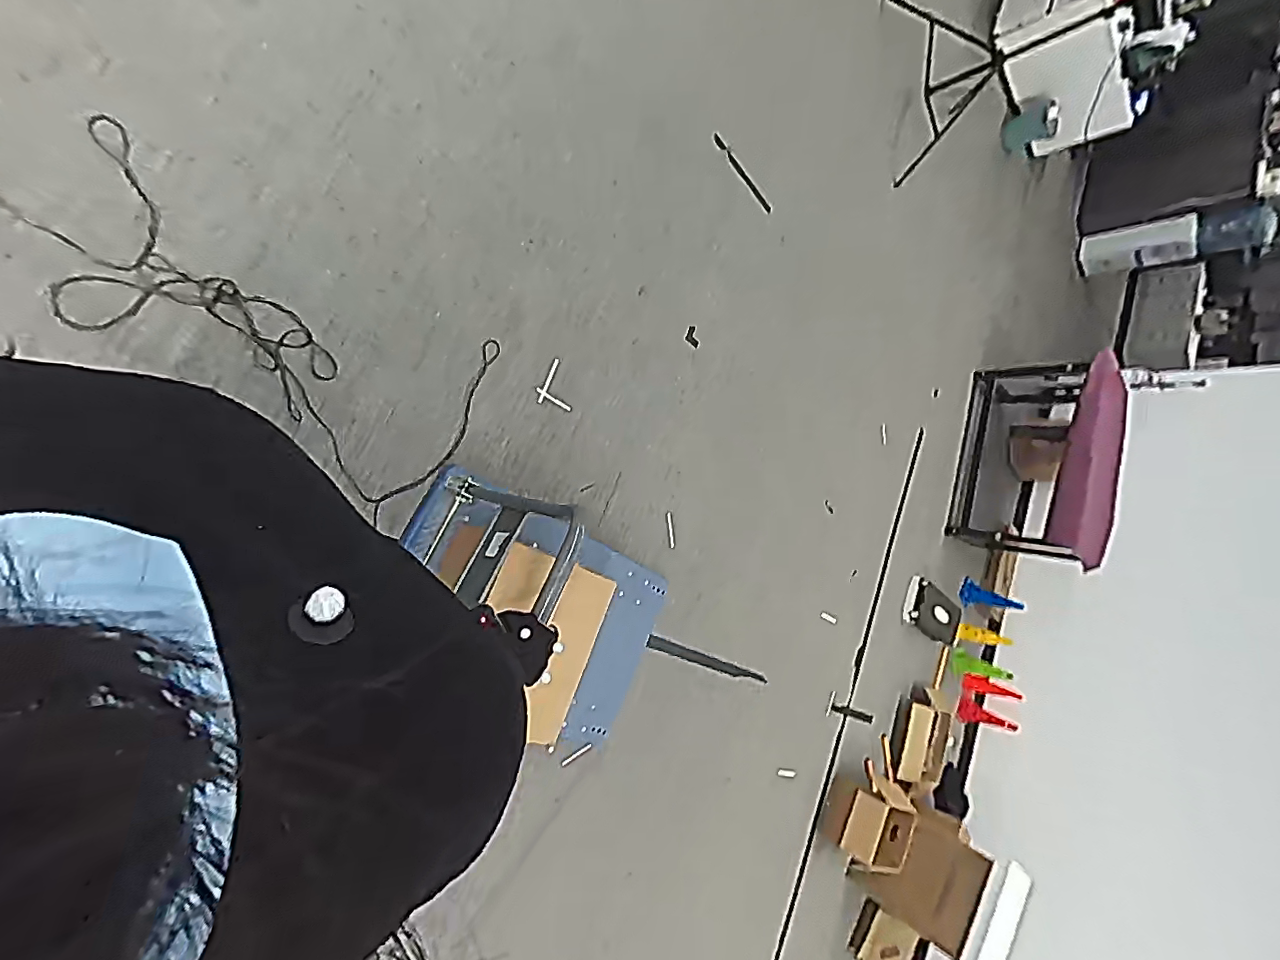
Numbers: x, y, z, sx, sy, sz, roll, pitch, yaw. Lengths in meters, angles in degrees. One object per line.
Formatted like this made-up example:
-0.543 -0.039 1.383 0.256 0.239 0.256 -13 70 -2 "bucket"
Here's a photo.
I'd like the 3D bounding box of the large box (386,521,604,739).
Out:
-0.353 0.352 1.320 0.320 0.320 0.408 30 76 -37 "large box"
